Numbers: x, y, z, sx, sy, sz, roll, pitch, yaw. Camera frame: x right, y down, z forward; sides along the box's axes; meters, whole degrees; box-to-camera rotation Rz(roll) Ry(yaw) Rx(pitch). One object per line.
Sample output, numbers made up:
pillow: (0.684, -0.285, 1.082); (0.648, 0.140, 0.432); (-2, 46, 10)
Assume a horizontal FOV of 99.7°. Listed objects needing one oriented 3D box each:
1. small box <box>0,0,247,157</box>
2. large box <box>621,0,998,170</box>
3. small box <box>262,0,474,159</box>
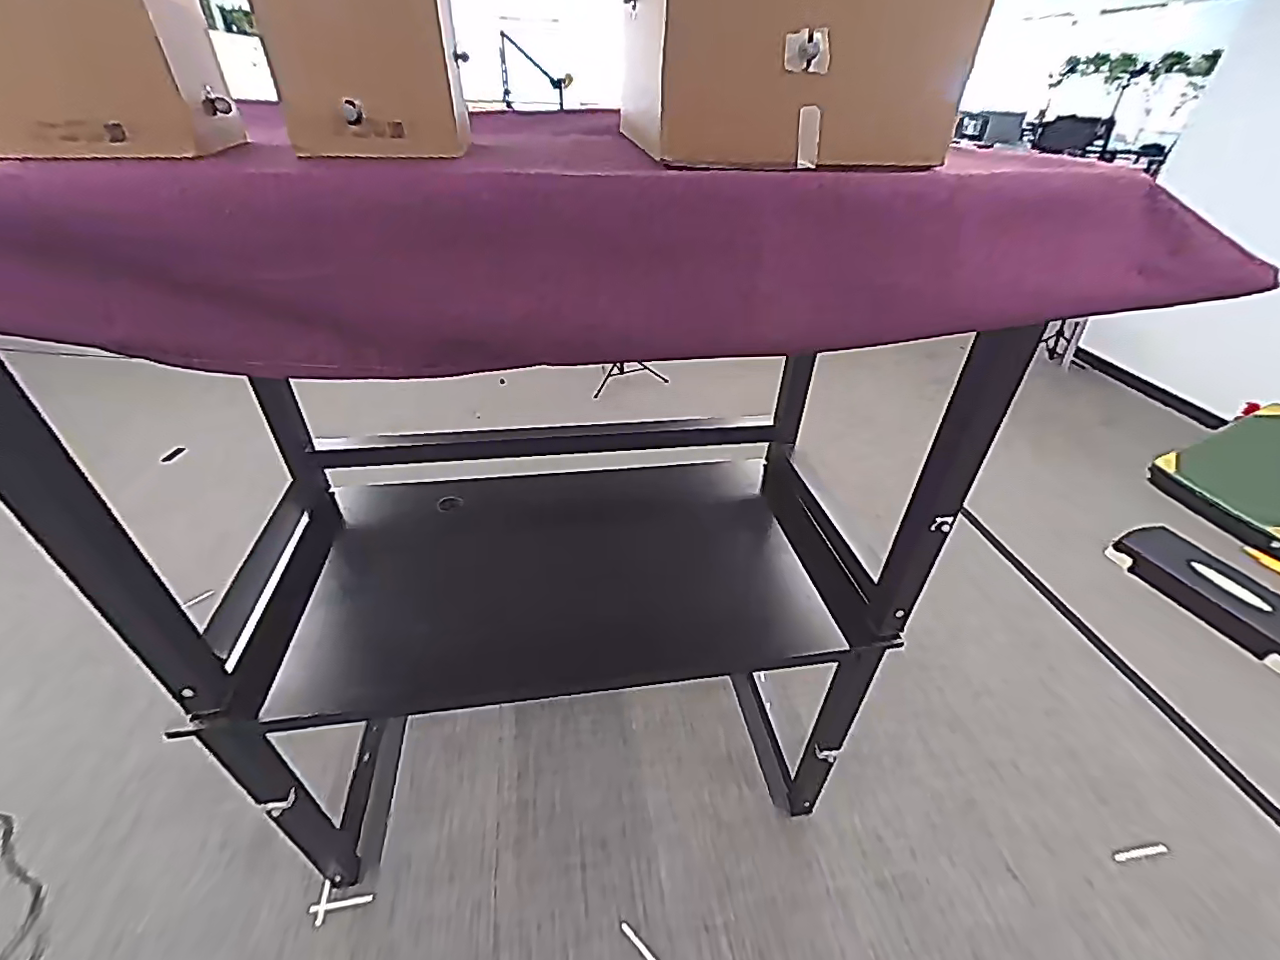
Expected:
small box: (-0.512, -0.415, 0.516); (0.168, 0.176, 0.179); (-10, 37, -15)
large box: (0.151, -0.552, 0.619); (0.320, 0.320, 0.408); (-3, 36, -7)
small box: (-0.278, -0.454, 0.581); (0.168, 0.176, 0.179); (-5, 37, -9)
